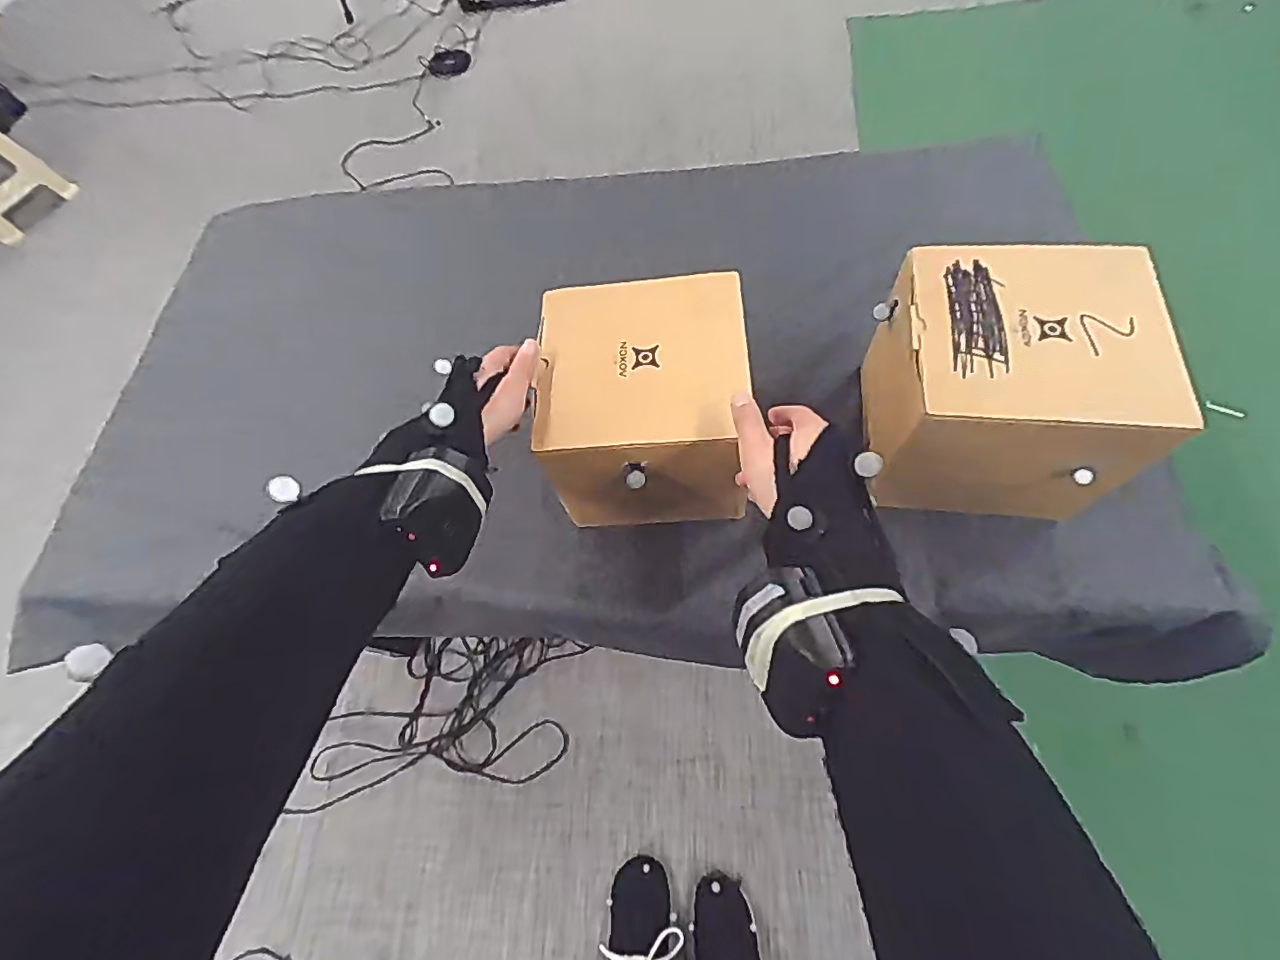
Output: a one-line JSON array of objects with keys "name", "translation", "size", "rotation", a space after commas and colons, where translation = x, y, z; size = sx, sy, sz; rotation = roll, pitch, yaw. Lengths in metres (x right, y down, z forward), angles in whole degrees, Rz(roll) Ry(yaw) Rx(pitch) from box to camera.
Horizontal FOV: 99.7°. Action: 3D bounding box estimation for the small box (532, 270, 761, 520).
[{"name": "small box", "translation": [0.013, -0.068, 0.510], "size": [0.179, 0.176, 0.168], "rotation": [-4, 65, 8]}]
